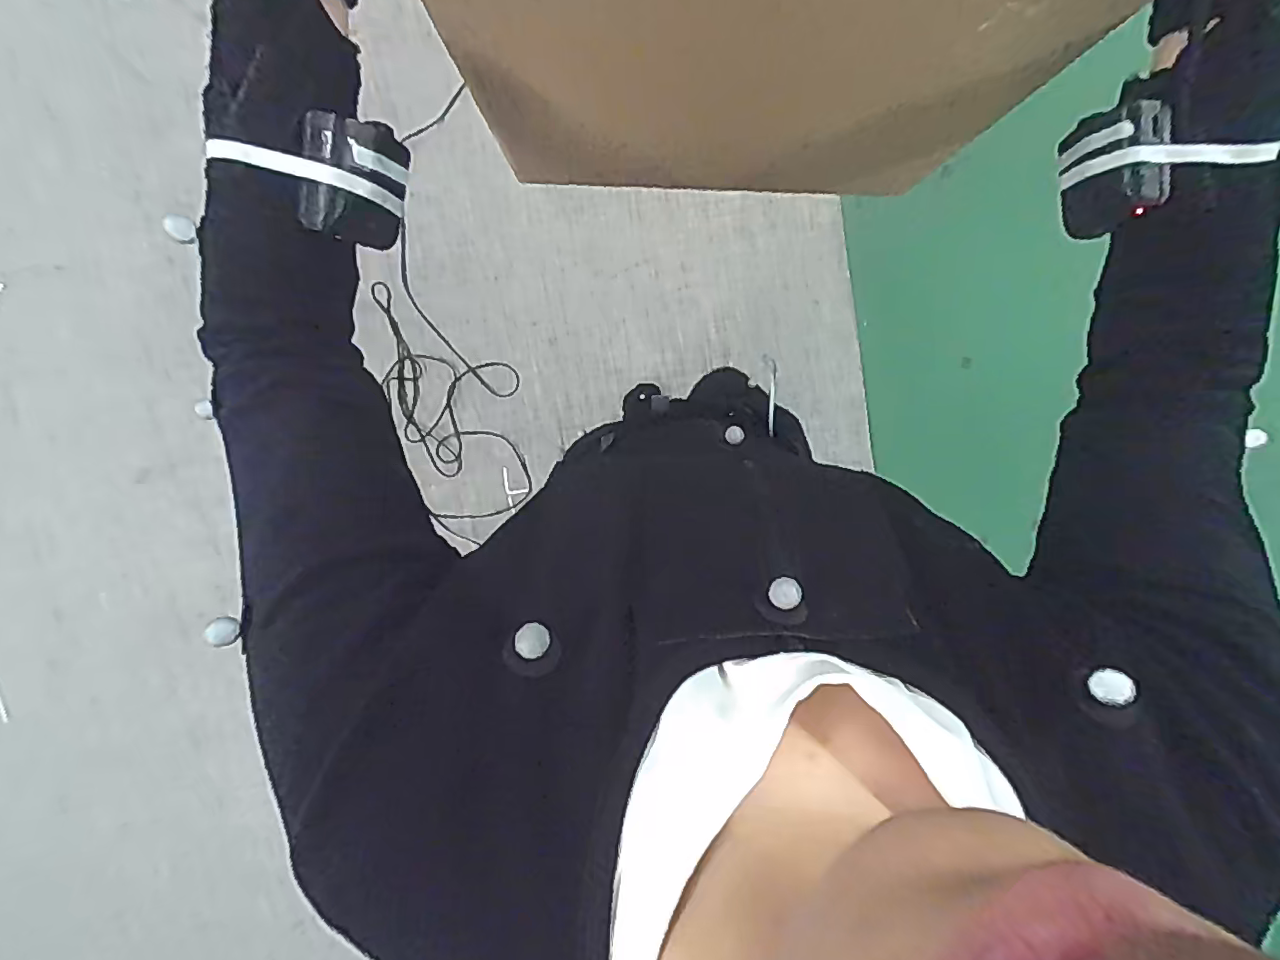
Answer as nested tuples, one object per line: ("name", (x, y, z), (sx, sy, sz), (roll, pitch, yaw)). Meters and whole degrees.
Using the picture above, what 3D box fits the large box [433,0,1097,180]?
("large box", (0.071, -0.440, 0.391), (0.408, 0.320, 0.320), (0, 99, -1))
